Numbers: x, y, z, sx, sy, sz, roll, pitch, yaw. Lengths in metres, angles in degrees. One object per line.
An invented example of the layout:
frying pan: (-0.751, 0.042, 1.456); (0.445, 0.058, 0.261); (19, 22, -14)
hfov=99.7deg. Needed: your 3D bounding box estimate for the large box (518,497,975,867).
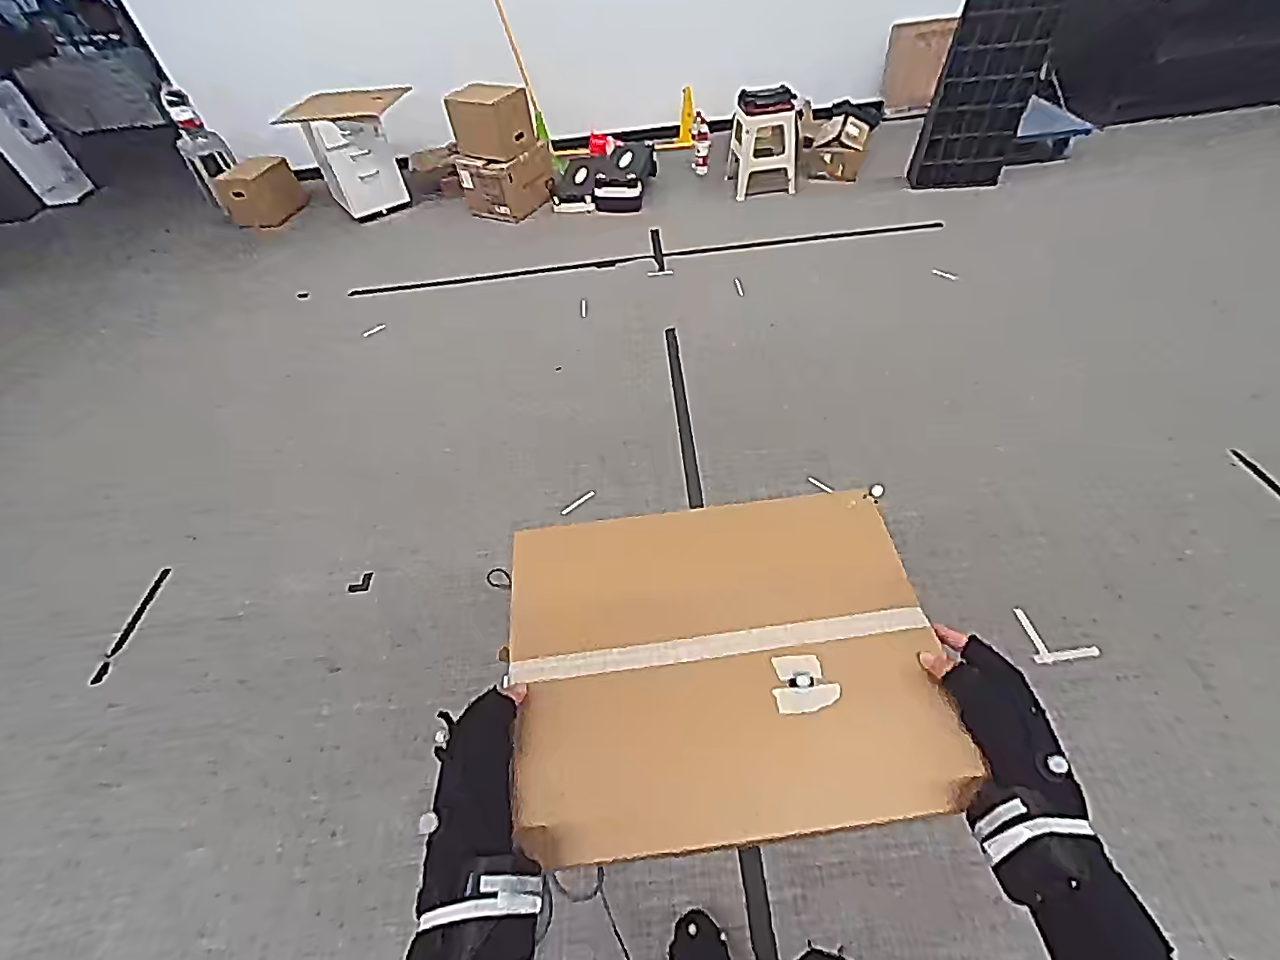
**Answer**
large box: (0.082, 0.256, 0.664); (0.408, 0.320, 0.320); (-7, 55, -2)
